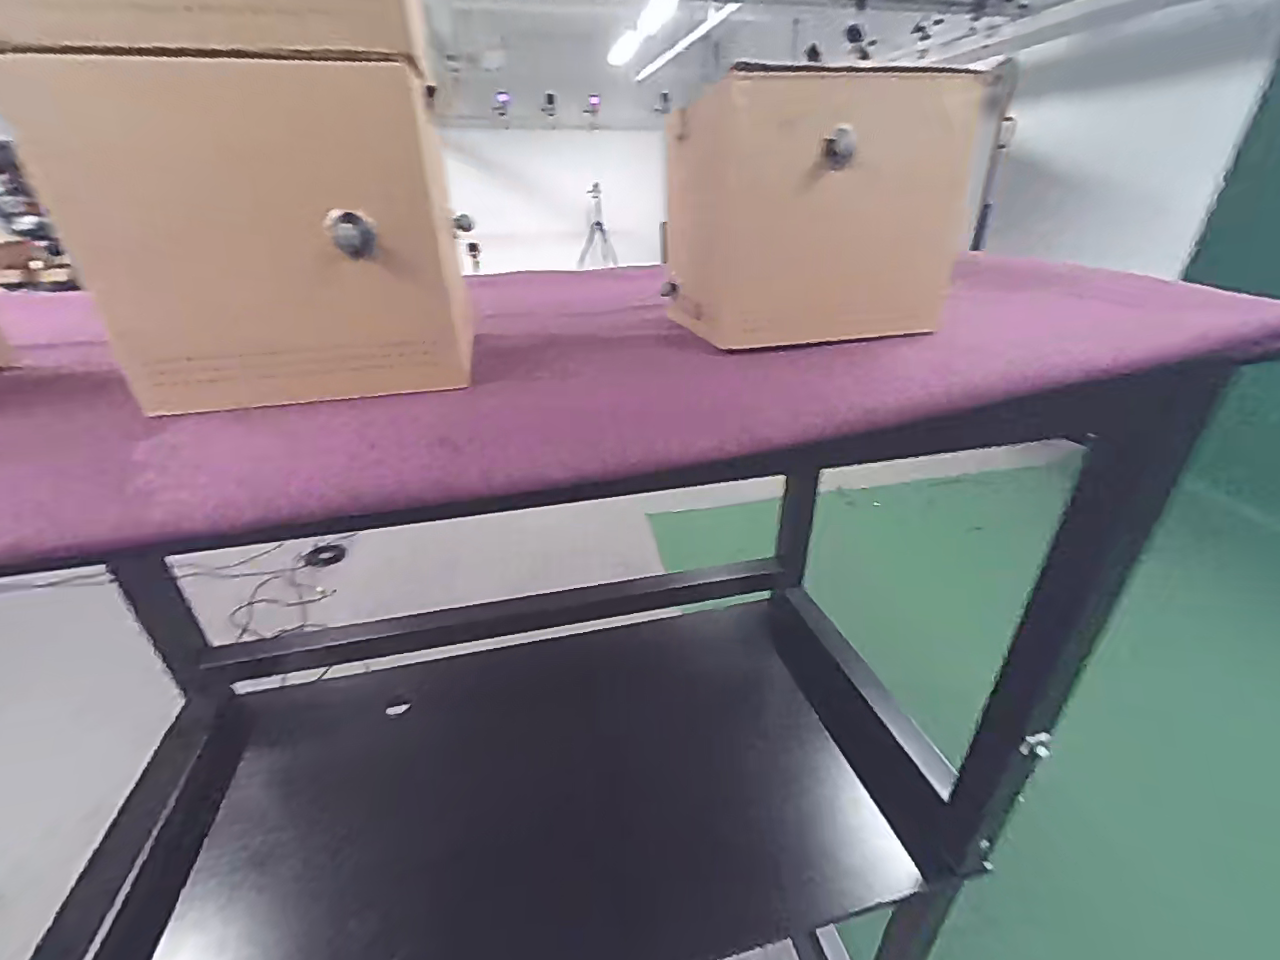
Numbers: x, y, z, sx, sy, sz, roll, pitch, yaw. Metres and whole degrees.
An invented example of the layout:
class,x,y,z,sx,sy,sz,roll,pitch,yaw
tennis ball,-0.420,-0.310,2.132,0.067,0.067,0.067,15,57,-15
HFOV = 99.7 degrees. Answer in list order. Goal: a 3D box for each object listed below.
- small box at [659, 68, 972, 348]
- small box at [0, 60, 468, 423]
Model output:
class,x,y,z,sx,sy,sz,roll,pitch,yaw
small box,0.120,-0.208,0.437,0.179,0.176,0.168,-7,27,-10
small box,-0.213,-0.149,0.349,0.179,0.176,0.168,-9,29,-12
